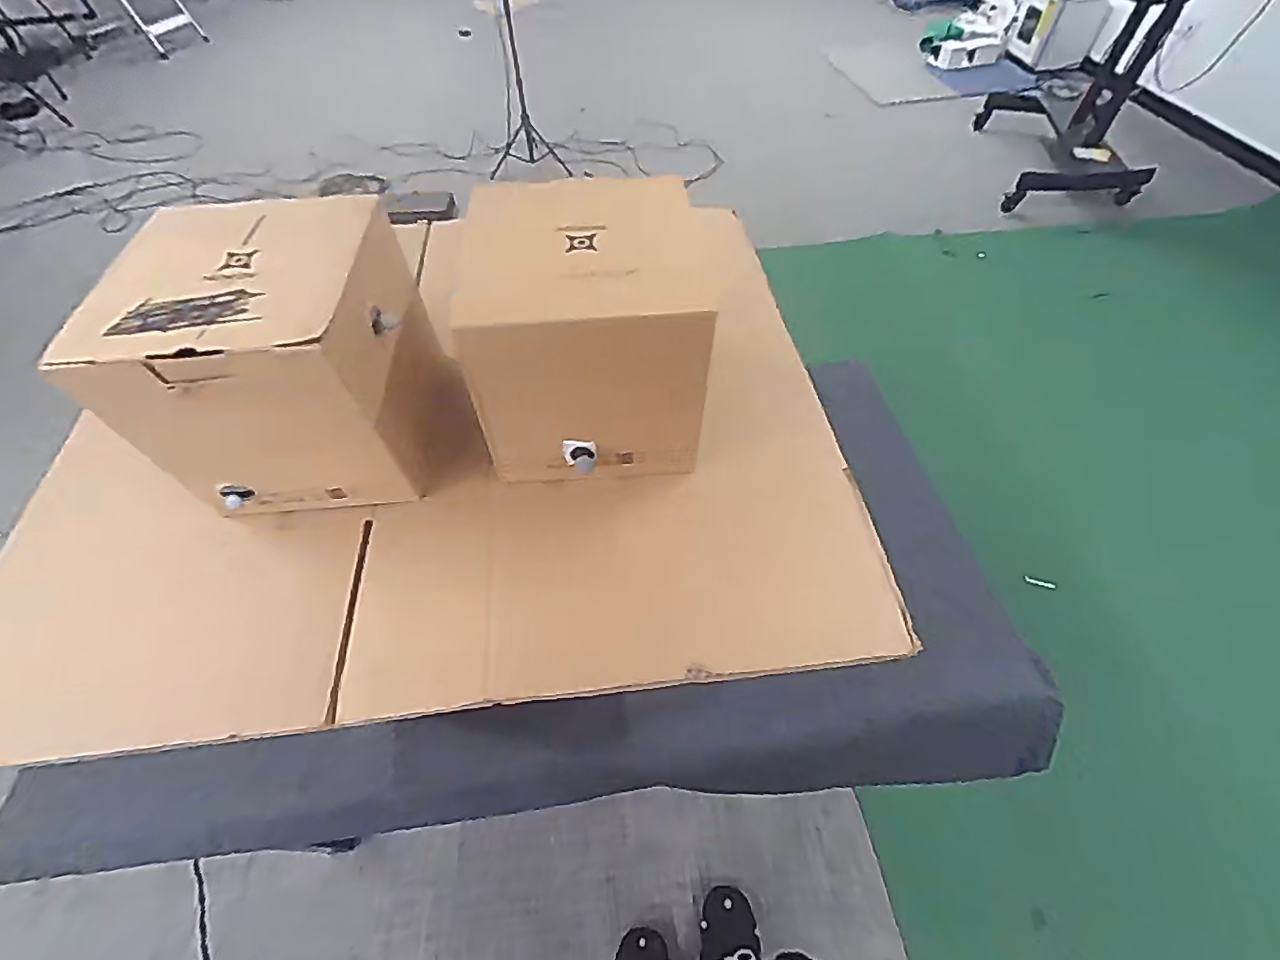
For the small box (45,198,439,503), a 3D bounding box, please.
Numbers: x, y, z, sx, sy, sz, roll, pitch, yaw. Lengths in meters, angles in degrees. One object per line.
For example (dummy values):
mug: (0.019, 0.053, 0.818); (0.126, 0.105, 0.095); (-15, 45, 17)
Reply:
small box: (-0.276, -0.093, 0.433); (0.168, 0.176, 0.179); (-5, 54, -2)
